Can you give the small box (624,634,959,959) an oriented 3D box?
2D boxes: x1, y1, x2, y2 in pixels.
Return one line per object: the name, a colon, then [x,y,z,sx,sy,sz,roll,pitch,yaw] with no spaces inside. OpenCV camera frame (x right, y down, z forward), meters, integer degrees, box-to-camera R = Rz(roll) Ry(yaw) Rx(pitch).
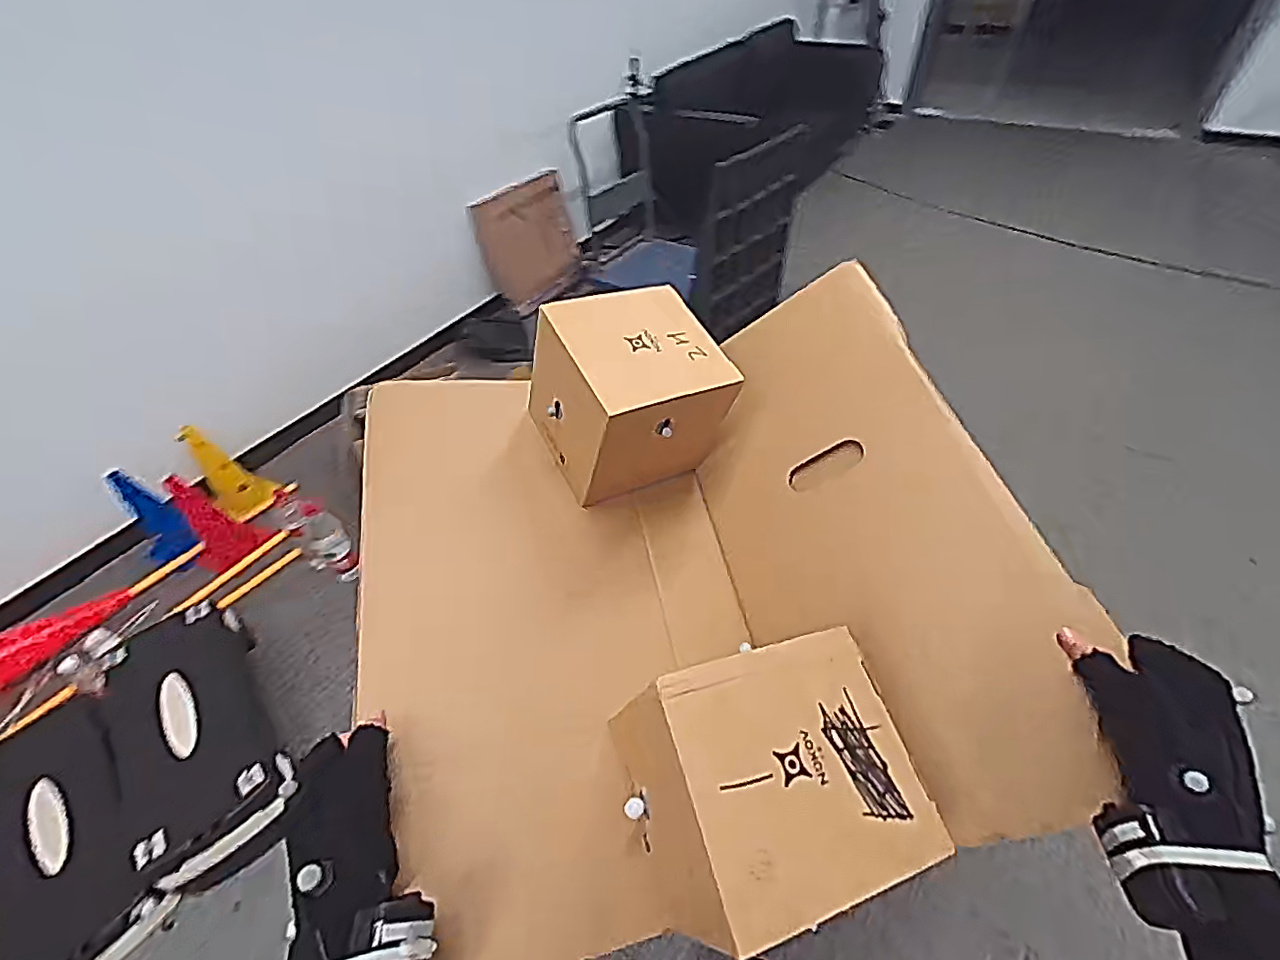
small box: [0.102,0.246,0.447,0.179,0.176,0.168,-7,60,-20]
